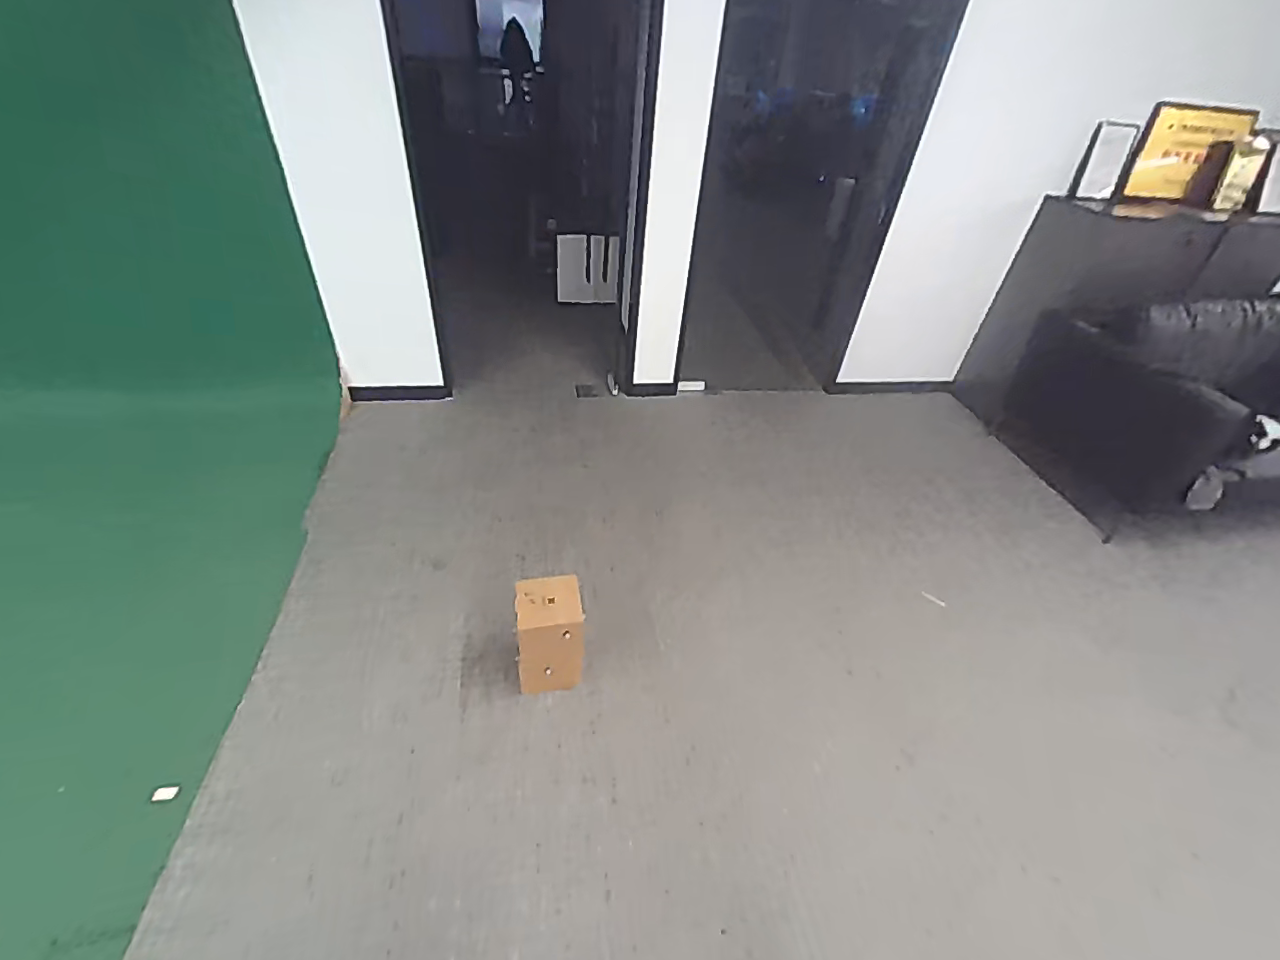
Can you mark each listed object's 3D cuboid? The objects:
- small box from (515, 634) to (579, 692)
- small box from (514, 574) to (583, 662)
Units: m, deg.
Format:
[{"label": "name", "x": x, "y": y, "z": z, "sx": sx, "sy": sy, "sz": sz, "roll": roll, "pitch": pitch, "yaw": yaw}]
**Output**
[{"label": "small box", "x": -0.281, "y": 0.512, "z": 1.622, "sx": 0.179, "sy": 0.176, "sz": 0.168, "roll": -5, "pitch": 42, "yaw": -12}, {"label": "small box", "x": -0.259, "y": 0.387, "z": 1.516, "sx": 0.179, "sy": 0.176, "sz": 0.168, "roll": -4, "pitch": 41, "yaw": -12}]
